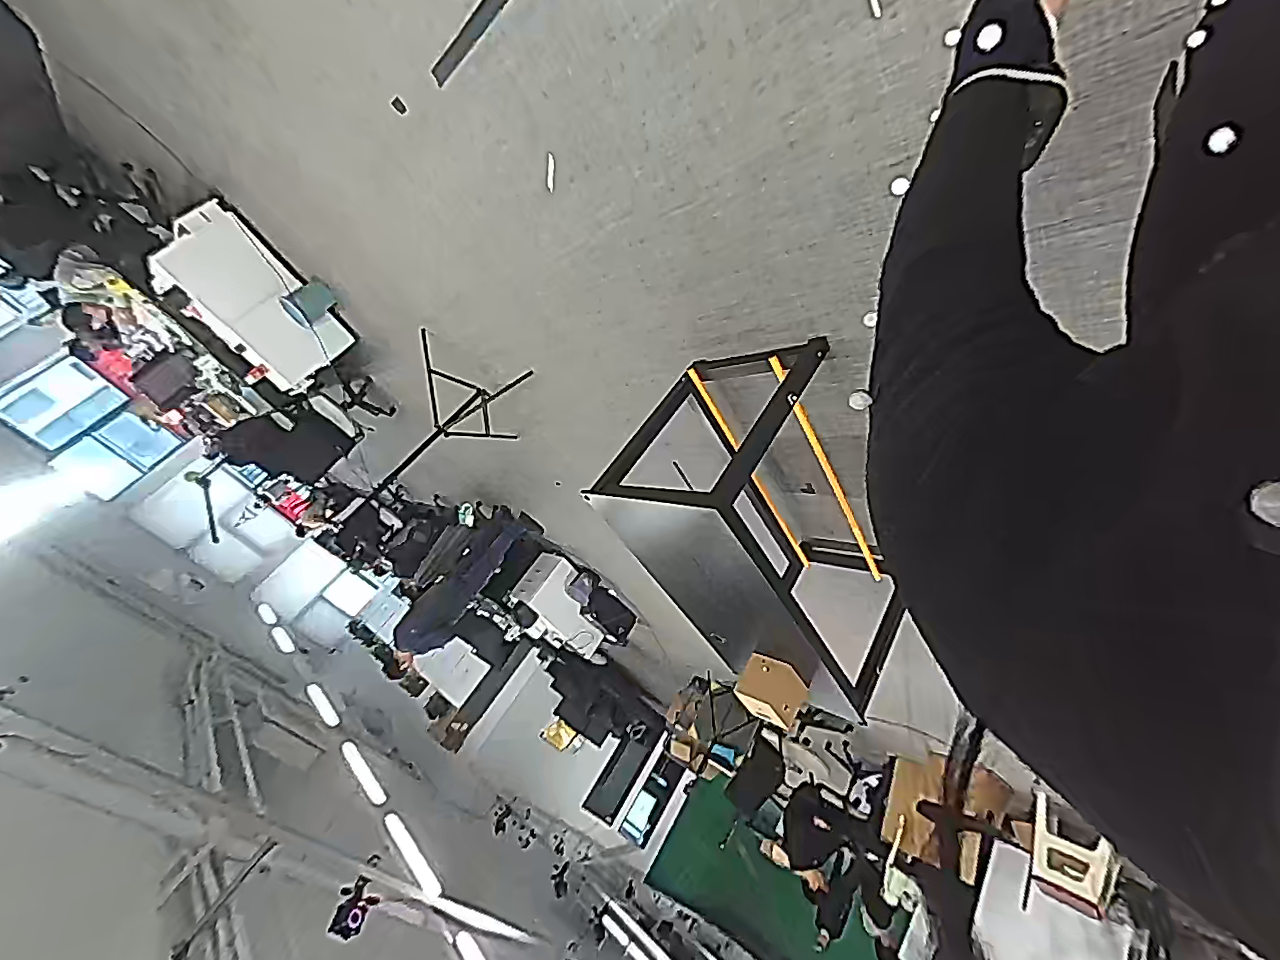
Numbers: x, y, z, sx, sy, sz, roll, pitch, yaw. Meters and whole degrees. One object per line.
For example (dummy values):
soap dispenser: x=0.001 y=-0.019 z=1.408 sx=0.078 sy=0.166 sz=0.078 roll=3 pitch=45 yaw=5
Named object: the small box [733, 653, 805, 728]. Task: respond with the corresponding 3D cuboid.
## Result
small box: x=0.481 y=0.770 z=1.990 sx=0.168 sy=0.176 sz=0.179 roll=2 pitch=137 yaw=50
